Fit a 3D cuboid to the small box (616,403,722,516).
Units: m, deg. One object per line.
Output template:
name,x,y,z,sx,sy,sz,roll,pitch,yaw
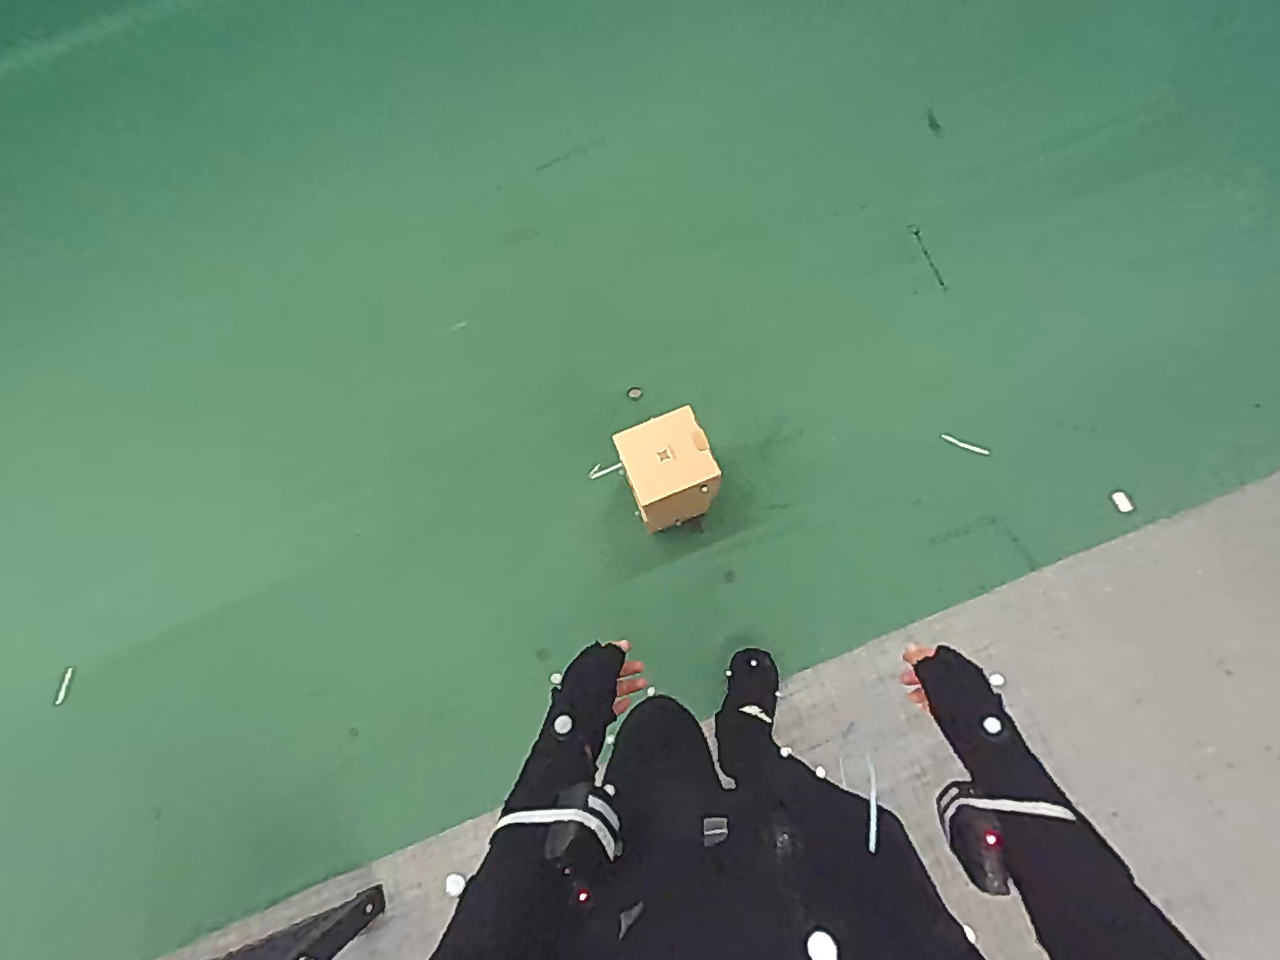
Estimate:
small box,0.065,-0.036,1.175,0.179,0.176,0.168,-23,74,-2
